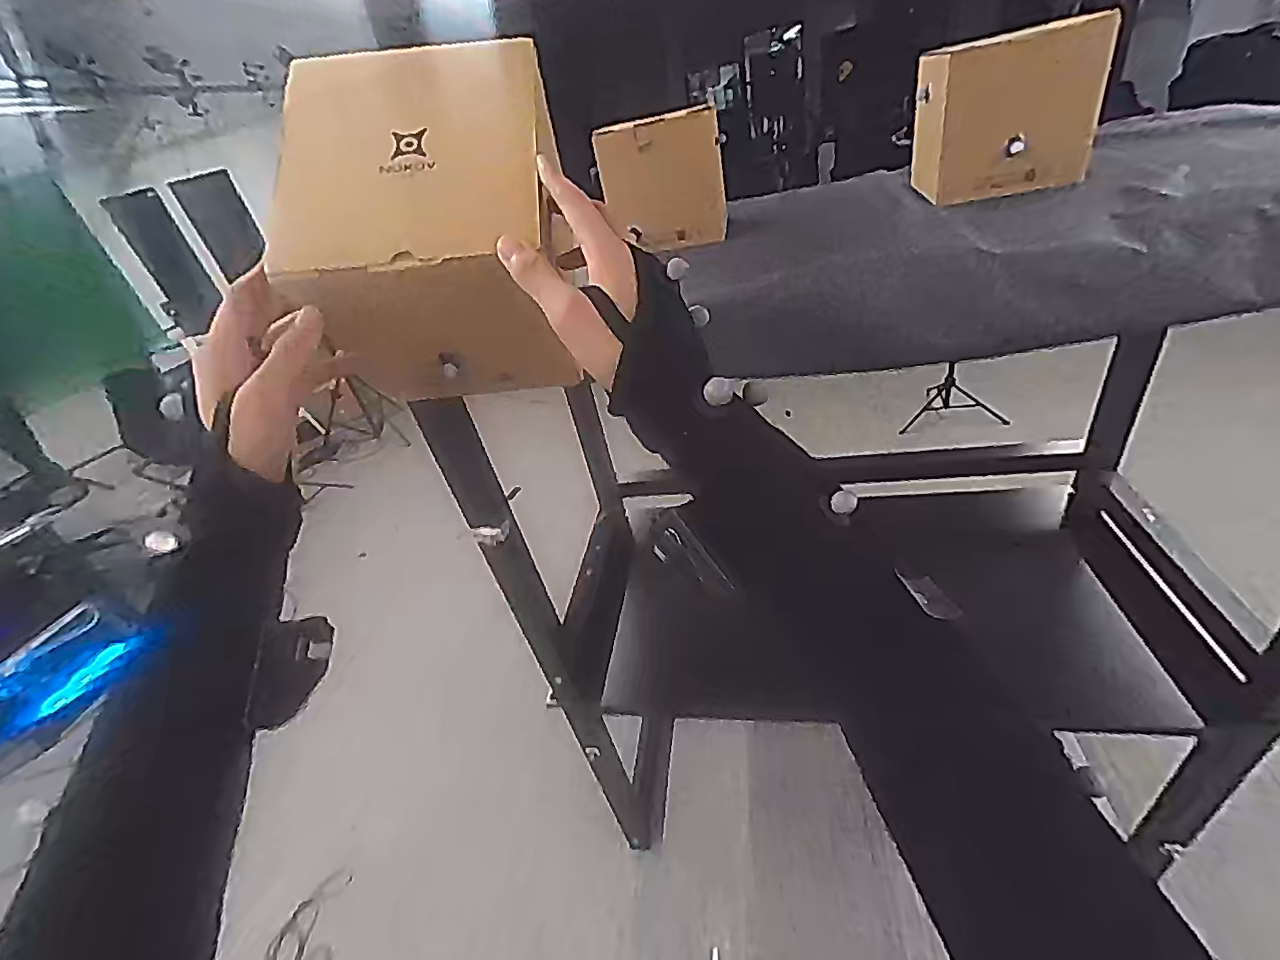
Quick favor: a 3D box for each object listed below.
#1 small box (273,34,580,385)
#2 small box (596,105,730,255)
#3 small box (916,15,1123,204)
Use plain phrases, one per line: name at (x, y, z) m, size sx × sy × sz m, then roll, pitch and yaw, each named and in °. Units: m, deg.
small box at (-0.140, -0.194, 0.422) m, size 0.168 × 0.176 × 0.179 m, roll -5°, pitch 73°, yaw 0°
small box at (0.047, -0.457, 0.833) m, size 0.168 × 0.176 × 0.179 m, roll -4°, pitch 34°, yaw 14°
small box at (0.474, -0.477, 0.712) m, size 0.168 × 0.176 × 0.179 m, roll -3°, pitch 35°, yaw 16°
